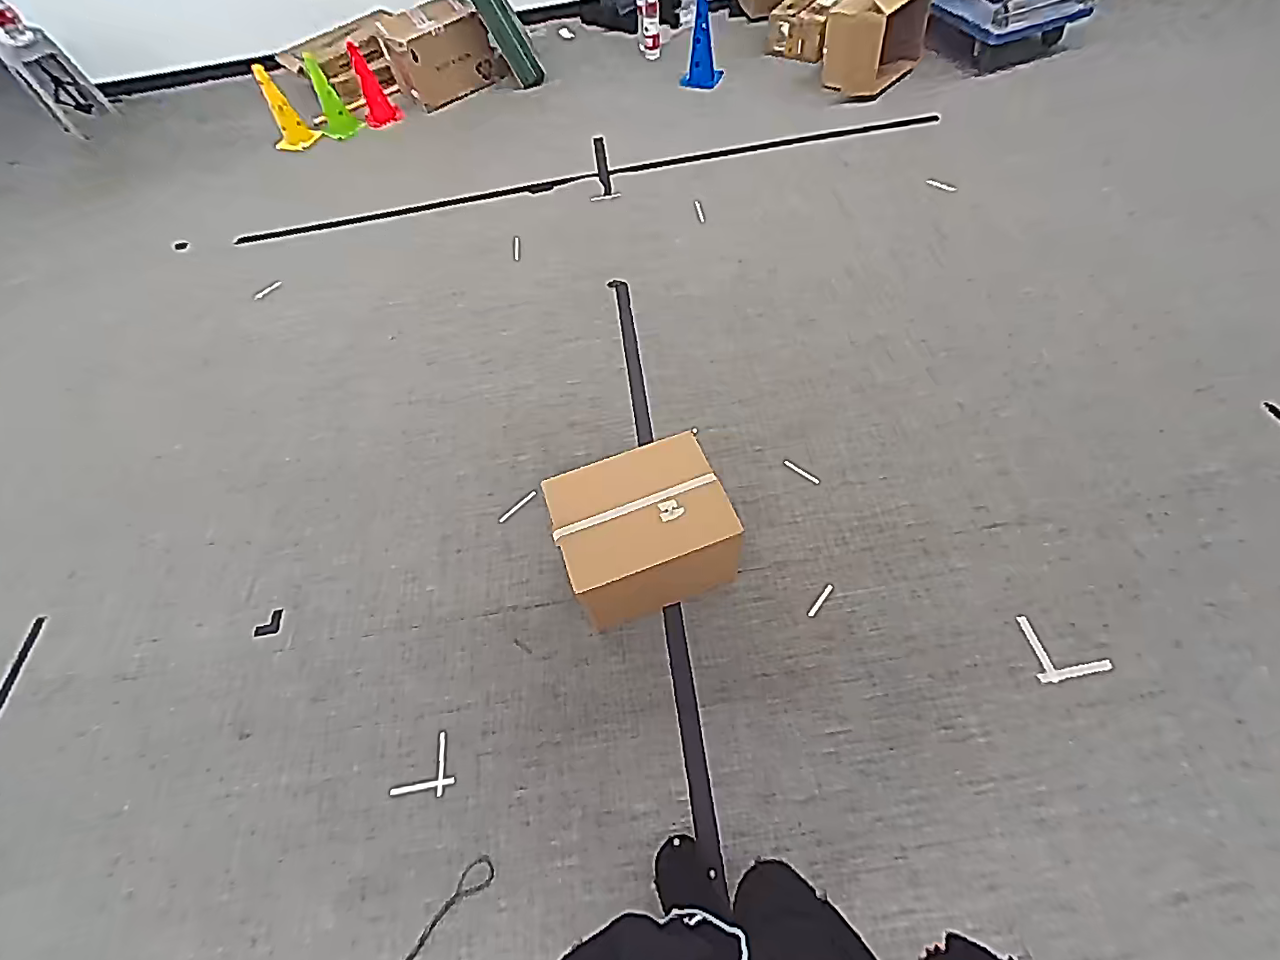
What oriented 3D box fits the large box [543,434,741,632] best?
[{"bbox_3d":[0.006,0.144,1.400,0.408,0.320,0.320,-19,59,-7],"label":"large box"}]
